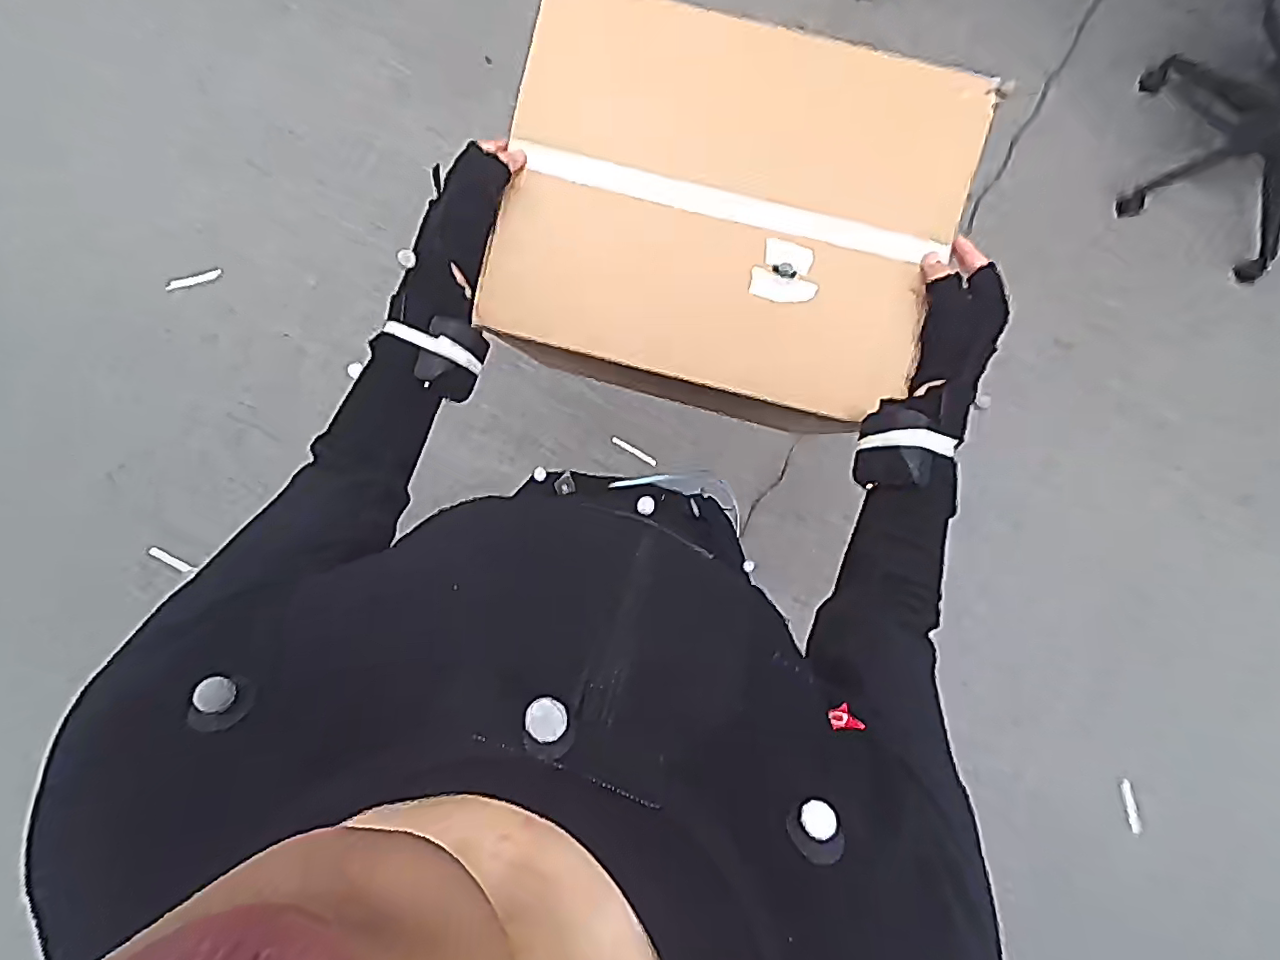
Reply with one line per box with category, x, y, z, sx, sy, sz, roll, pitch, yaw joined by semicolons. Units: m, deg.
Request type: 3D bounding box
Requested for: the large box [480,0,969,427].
large box;0.074;-0.258;0.648;0.408;0.320;0.320;14;96;0
